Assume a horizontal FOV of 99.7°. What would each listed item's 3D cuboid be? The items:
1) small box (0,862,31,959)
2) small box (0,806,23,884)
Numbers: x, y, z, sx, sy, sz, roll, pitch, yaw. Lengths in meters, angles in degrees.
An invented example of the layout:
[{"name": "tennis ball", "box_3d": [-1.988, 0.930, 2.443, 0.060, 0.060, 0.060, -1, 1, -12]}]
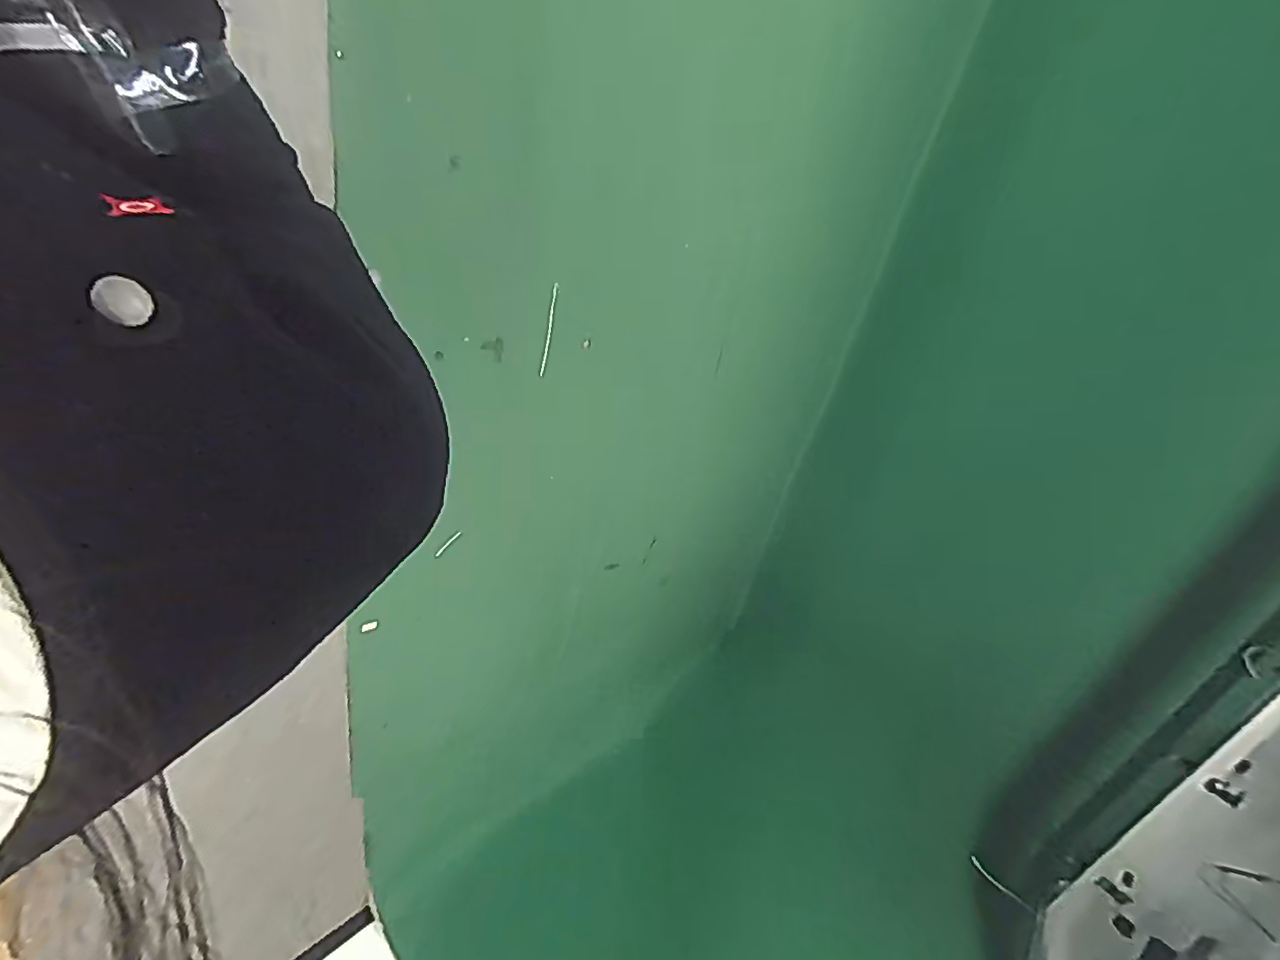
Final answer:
[{"name": "small box", "box_3d": [-1.460, 0.987, 1.163, 0.179, 0.176, 0.168, -13, 128, -47]}, {"name": "small box", "box_3d": [-1.576, 0.910, 1.248, 0.179, 0.176, 0.168, -17, 130, -44]}]
